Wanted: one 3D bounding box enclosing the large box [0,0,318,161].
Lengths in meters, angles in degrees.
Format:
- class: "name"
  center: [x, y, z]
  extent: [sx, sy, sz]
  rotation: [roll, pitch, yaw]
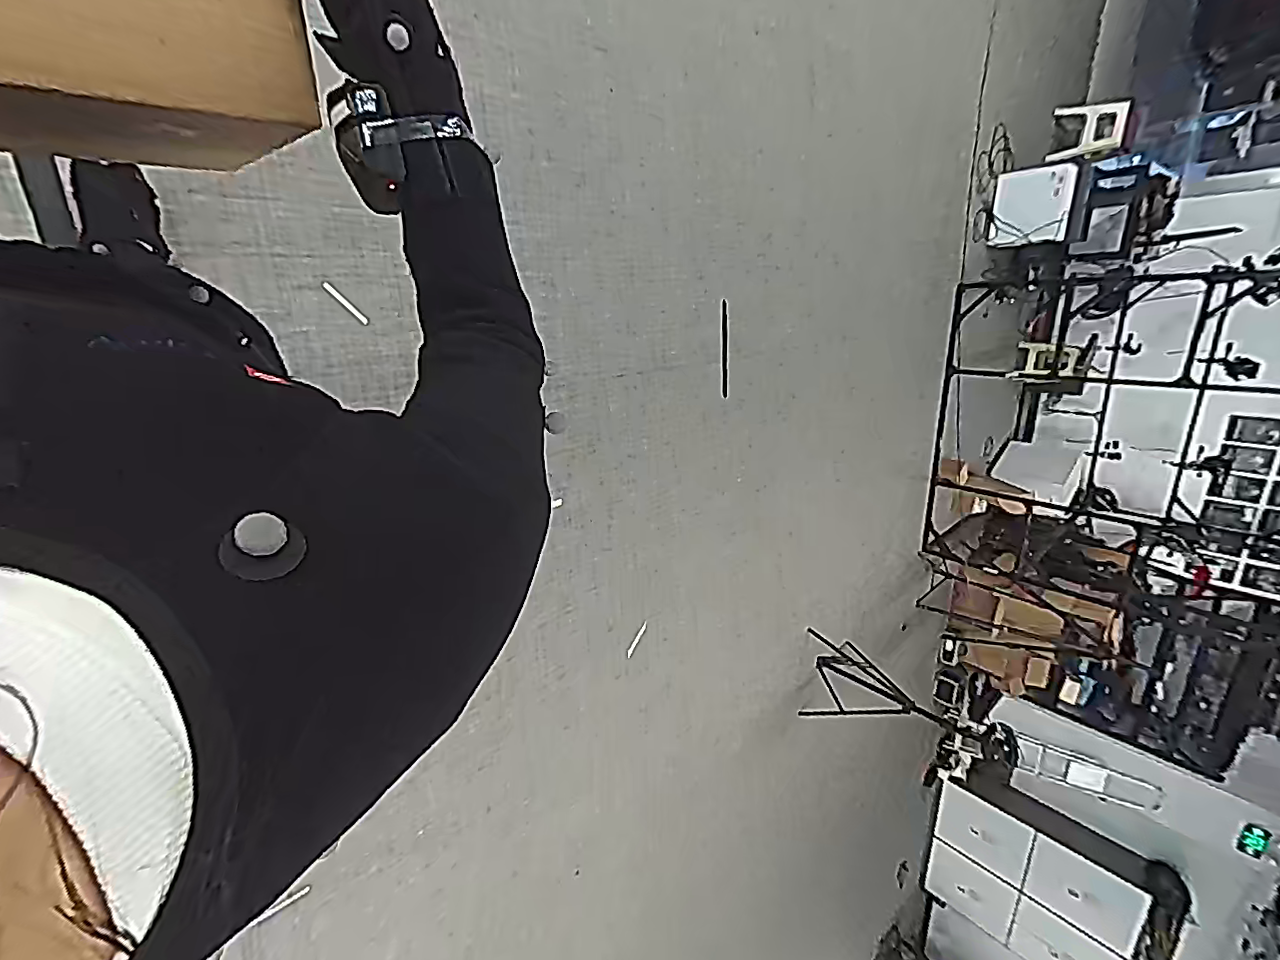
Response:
- class: "large box"
  center: [-0.464, -0.371, 0.279]
  extent: [0.408, 0.320, 0.320]
  rotation: [-21, 122, -40]
